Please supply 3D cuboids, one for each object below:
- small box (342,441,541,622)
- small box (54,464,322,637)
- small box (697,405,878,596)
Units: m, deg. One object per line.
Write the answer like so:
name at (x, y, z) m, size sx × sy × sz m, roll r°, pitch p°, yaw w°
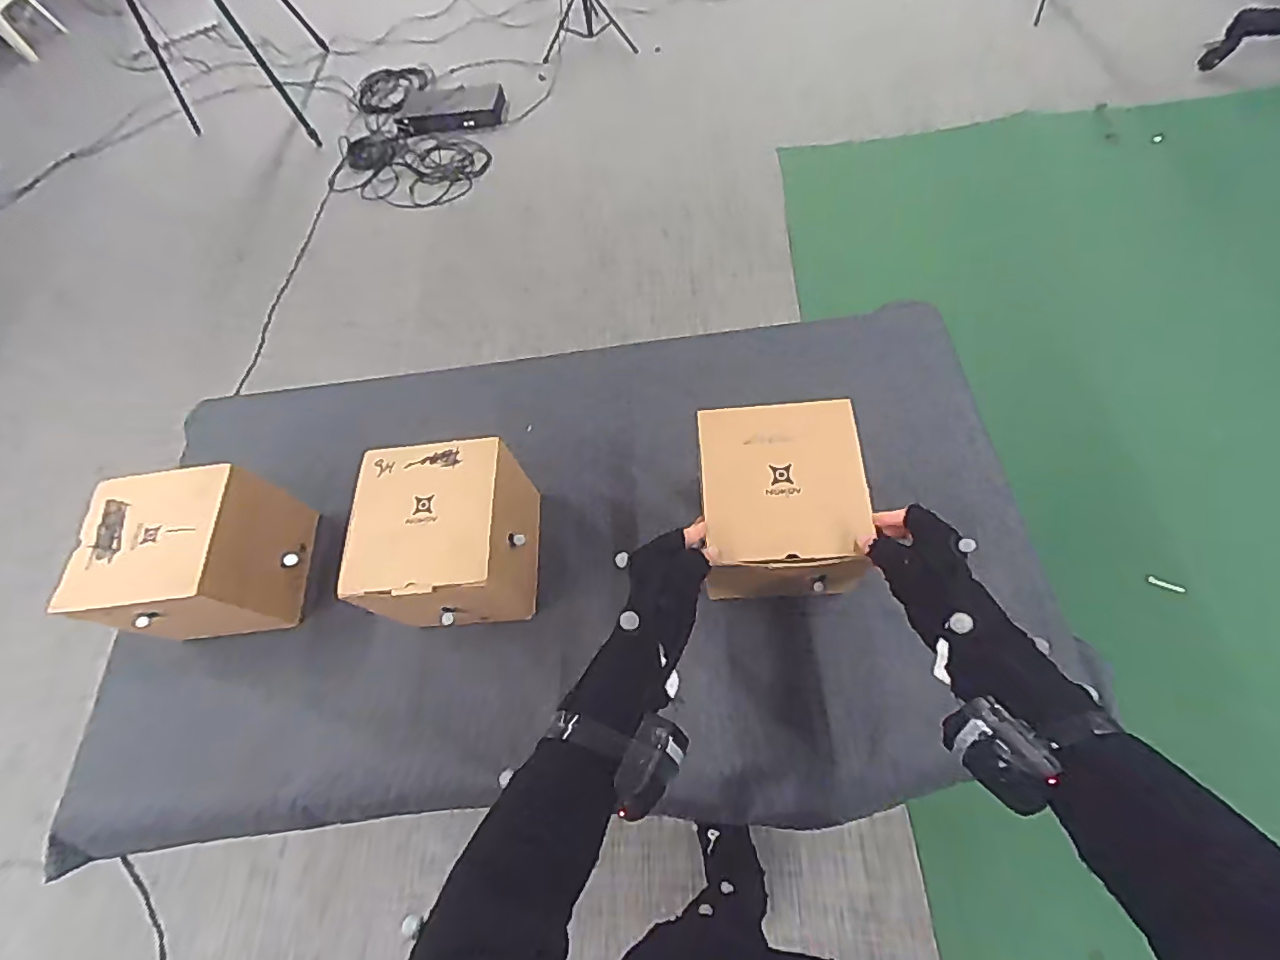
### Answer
small box at (-0.224, 0.073, 0.662) m, size 0.168 × 0.176 × 0.179 m, roll -5°, pitch 64°, yaw 5°
small box at (-0.554, 0.098, 0.693) m, size 0.179 × 0.176 × 0.168 m, roll -7°, pitch 64°, yaw 3°
small box at (0.155, 0.035, 0.627) m, size 0.168 × 0.176 × 0.179 m, roll -4°, pitch 65°, yaw 5°
